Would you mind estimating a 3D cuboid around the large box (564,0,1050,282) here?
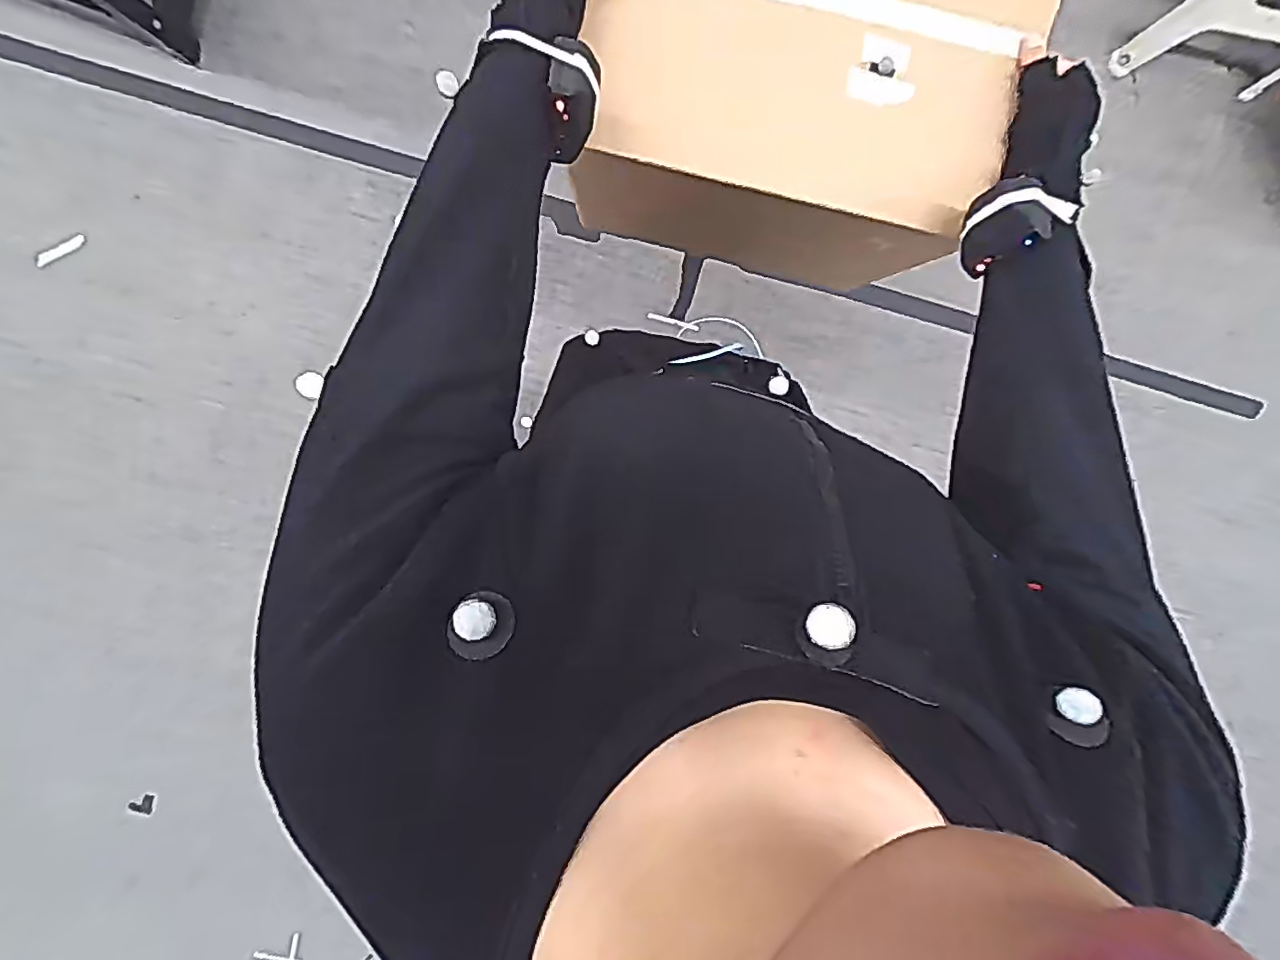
[{"bbox_3d":[0.148,-0.445,0.615,0.408,0.320,0.320,12,102,-5],"label":"large box"}]
